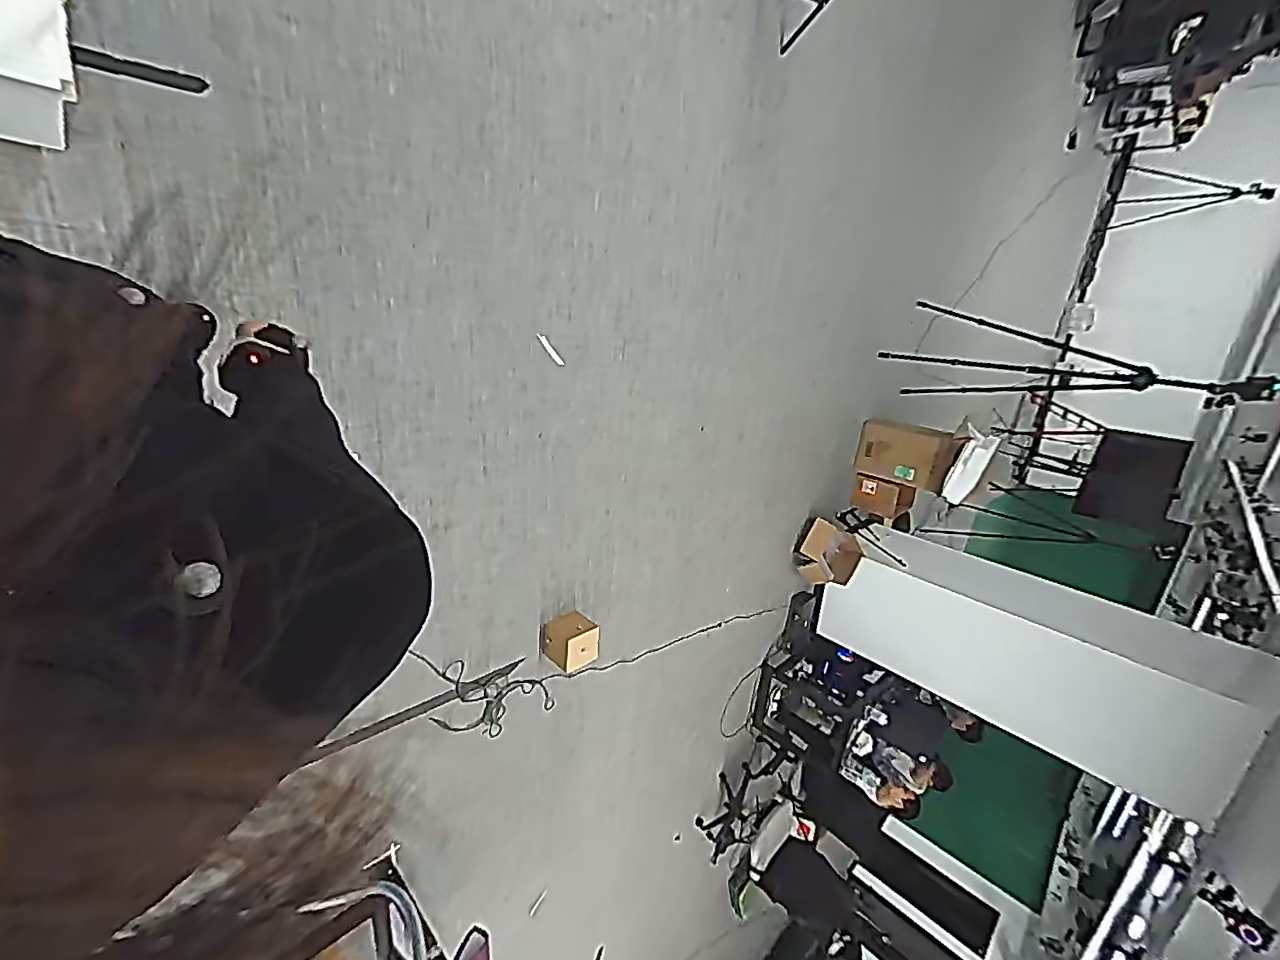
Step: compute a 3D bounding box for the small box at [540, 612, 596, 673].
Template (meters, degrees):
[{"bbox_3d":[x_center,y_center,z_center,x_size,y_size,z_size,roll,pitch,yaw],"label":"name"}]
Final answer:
[{"bbox_3d":[-0.316,0.701,2.361,0.179,0.176,0.168,-12,114,-44],"label":"small box"}]
